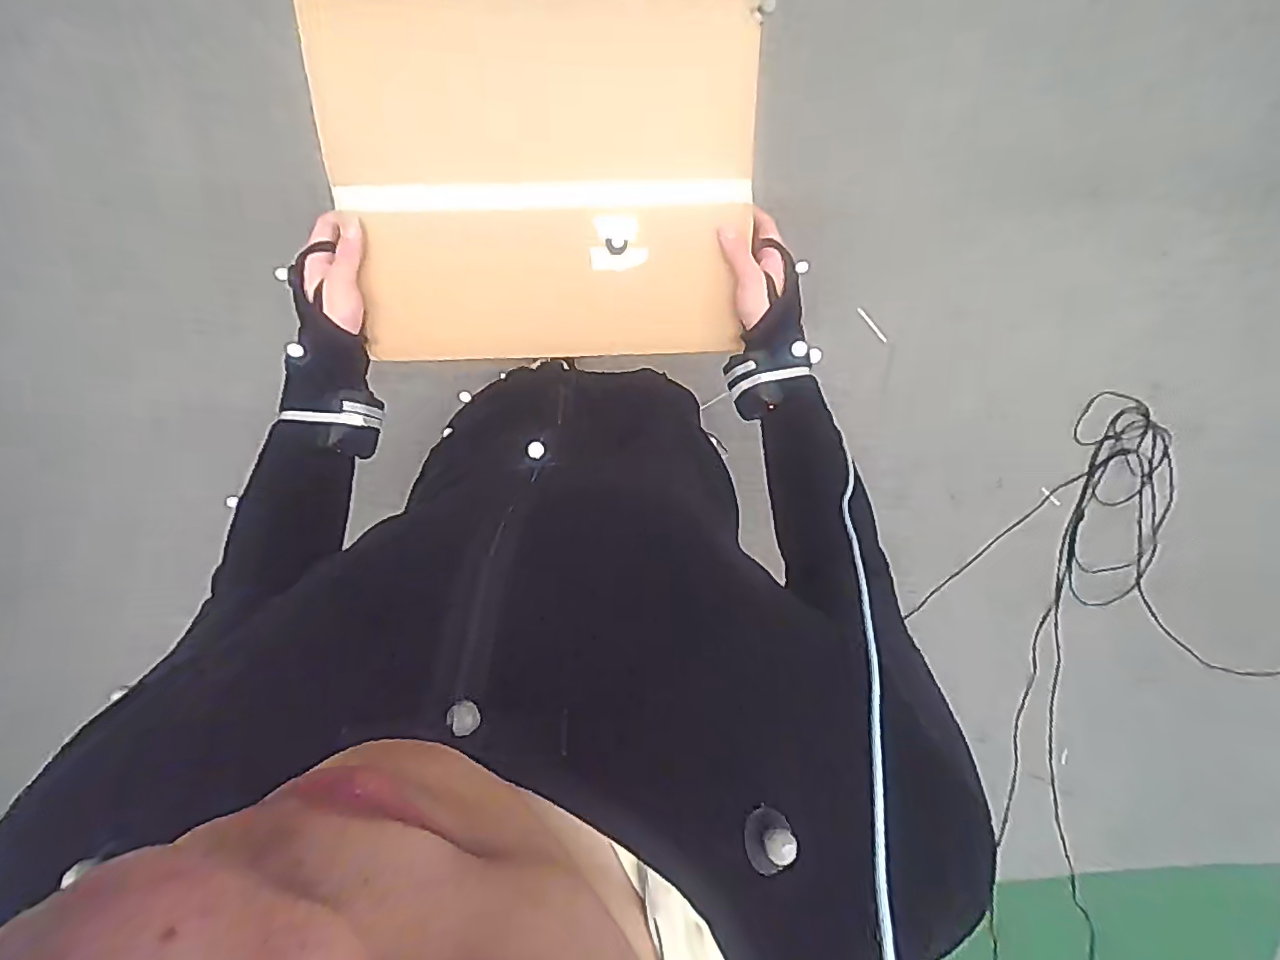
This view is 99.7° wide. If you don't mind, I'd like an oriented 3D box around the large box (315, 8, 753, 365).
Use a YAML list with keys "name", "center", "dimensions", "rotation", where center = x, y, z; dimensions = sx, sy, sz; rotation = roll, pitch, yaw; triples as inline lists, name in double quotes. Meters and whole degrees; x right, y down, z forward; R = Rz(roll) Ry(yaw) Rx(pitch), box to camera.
- name: "large box"
  center: [-0.100, -0.333, 0.680]
  dimensions: [0.408, 0.320, 0.320]
  rotation: [-3, 112, -3]
